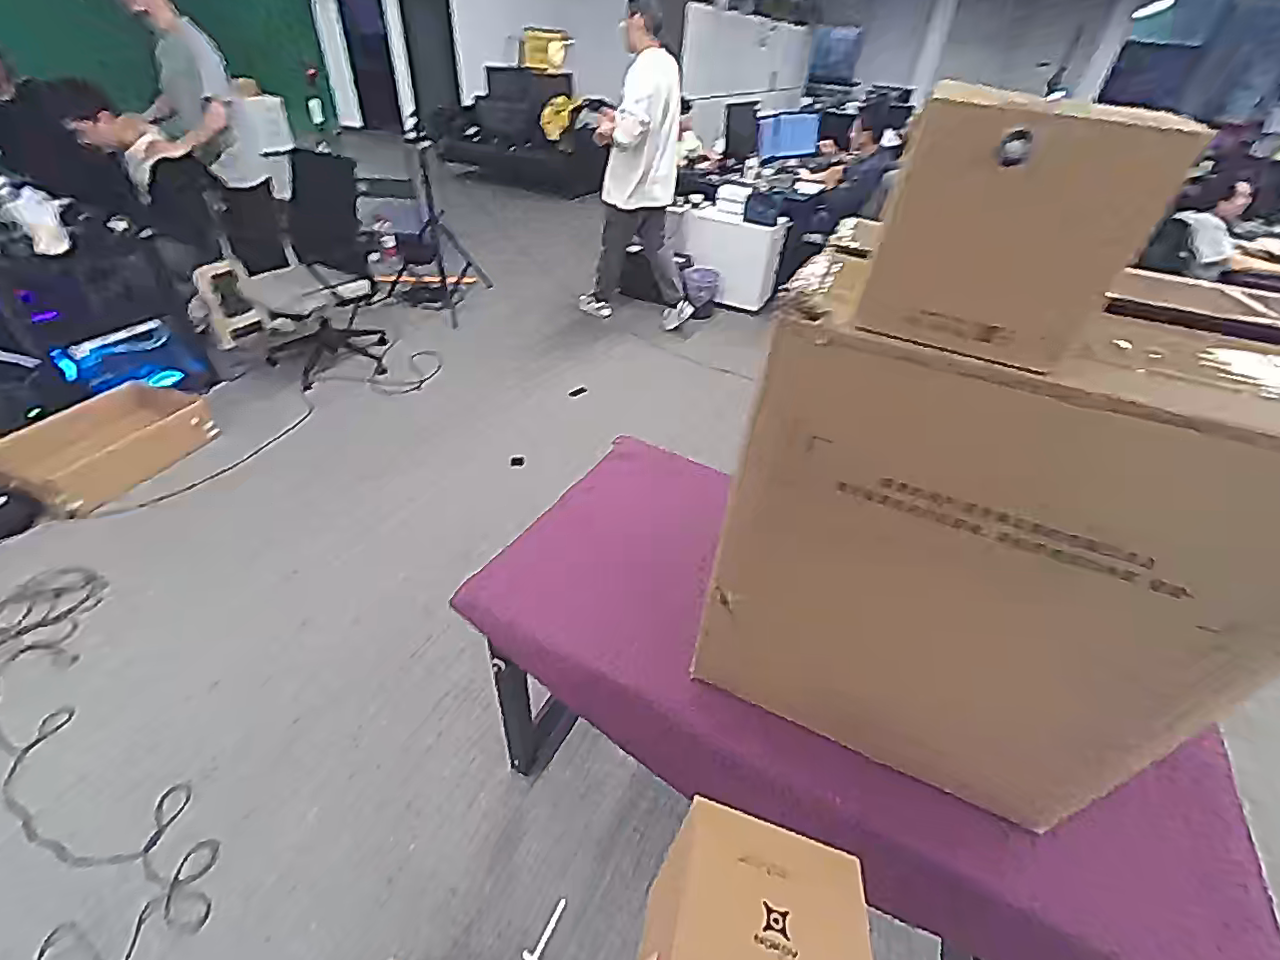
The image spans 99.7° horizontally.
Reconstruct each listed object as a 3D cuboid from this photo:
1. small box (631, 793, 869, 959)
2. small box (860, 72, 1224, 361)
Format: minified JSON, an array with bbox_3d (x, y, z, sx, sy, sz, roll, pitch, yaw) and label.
[{"bbox_3d":[0.086,0.431,0.473,0.168,0.176,0.179,20,23,4],"label":"small box"},{"bbox_3d":[0.301,-0.224,0.453,0.168,0.176,0.179,20,42,16],"label":"small box"}]
